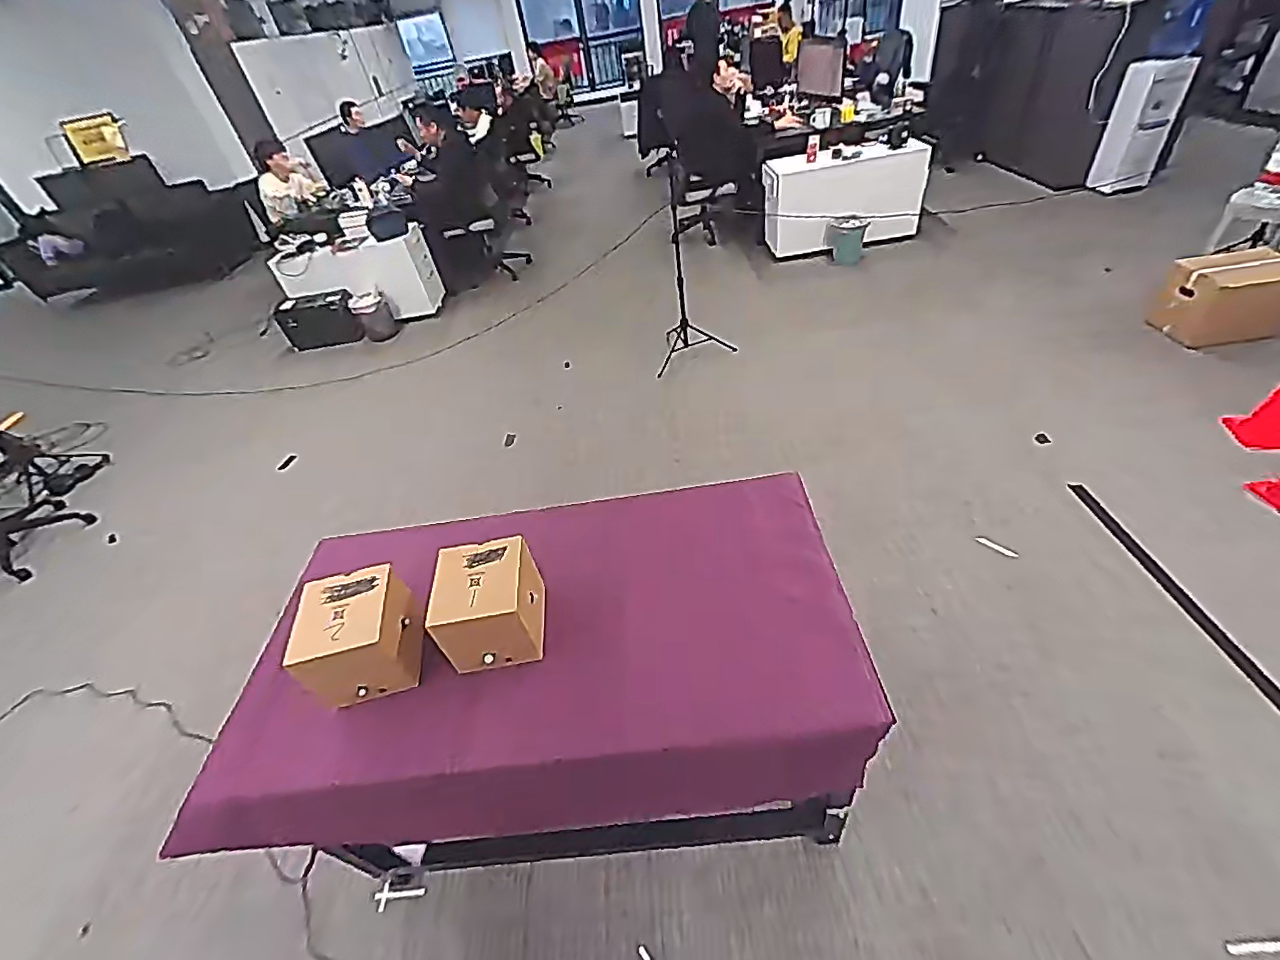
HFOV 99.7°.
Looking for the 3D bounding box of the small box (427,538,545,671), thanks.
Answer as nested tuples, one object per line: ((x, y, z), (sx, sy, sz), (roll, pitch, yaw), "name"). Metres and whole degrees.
((-0.286, 0.241, 1.046), (0.168, 0.176, 0.179), (-10, 42, 1), "small box")
